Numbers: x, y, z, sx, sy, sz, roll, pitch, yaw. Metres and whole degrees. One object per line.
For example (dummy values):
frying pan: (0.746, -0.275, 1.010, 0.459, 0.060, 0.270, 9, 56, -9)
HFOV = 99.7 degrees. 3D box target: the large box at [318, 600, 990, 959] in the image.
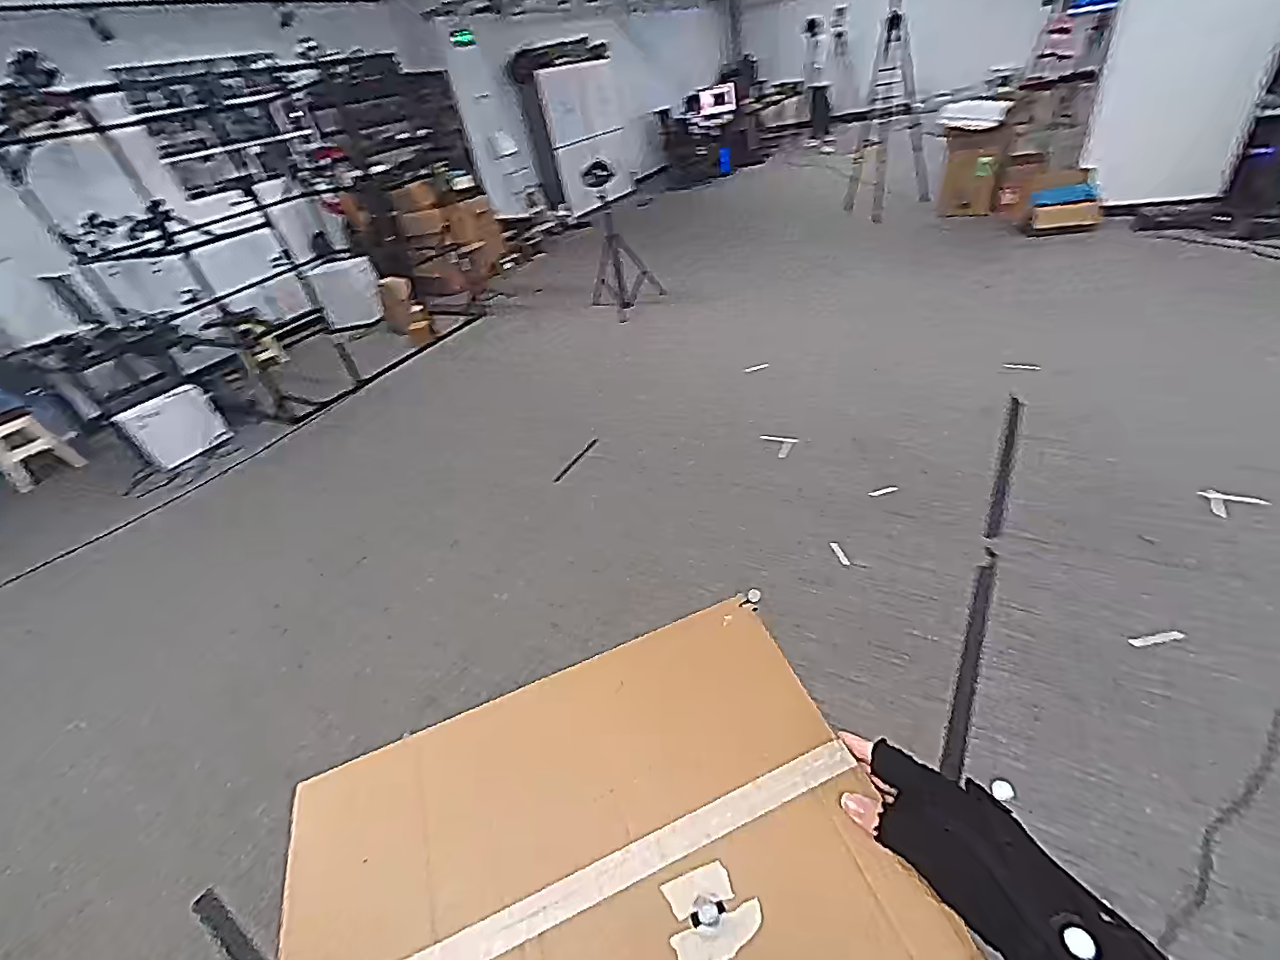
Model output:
large box: (-0.005, 0.380, 0.478, 0.408, 0.320, 0.320, -19, 45, -10)
